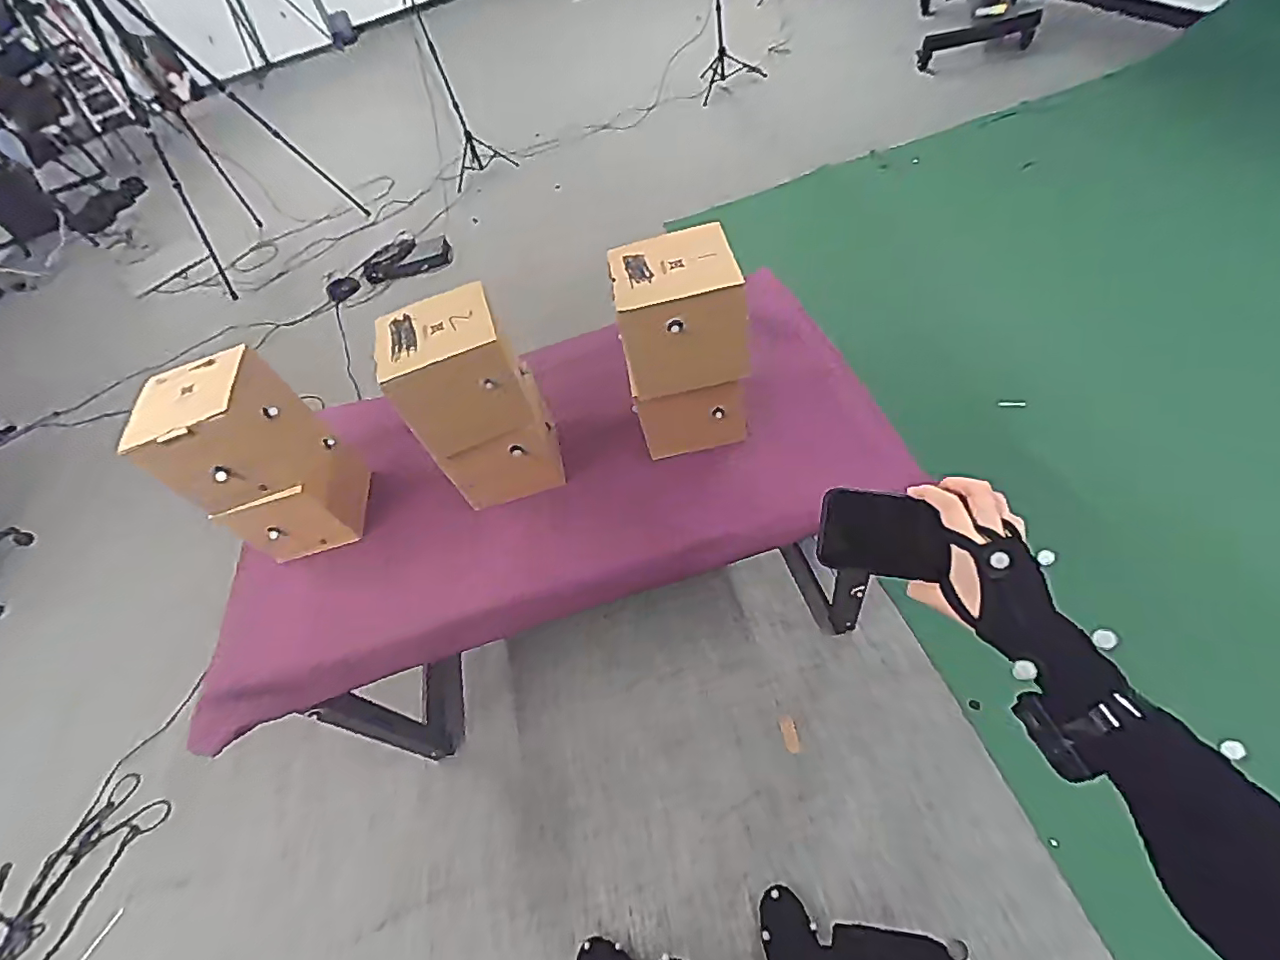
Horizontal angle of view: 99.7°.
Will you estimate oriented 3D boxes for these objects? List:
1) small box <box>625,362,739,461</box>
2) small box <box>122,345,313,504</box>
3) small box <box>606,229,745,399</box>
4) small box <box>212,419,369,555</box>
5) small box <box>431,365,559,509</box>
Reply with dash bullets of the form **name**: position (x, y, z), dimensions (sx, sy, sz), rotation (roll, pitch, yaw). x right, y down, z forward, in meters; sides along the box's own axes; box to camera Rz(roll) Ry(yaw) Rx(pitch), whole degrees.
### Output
- **small box**: position (0.076, -0.157, 0.961), dimensions (0.179, 0.176, 0.168), rotation (-12, 52, 6)
- **small box**: position (-0.666, -0.082, 0.881), dimensions (0.168, 0.176, 0.179), rotation (-19, 52, -2)
- **small box**: position (0.055, -0.245, 0.823), dimensions (0.179, 0.176, 0.168), rotation (-11, 52, 5)
- **small box**: position (-0.632, 0.021, 1.005), dimensions (0.168, 0.176, 0.179), rotation (-16, 52, 2)
- **small box**: position (-0.254, -0.074, 0.978), dimensions (0.179, 0.176, 0.168), rotation (-17, 51, 2)
